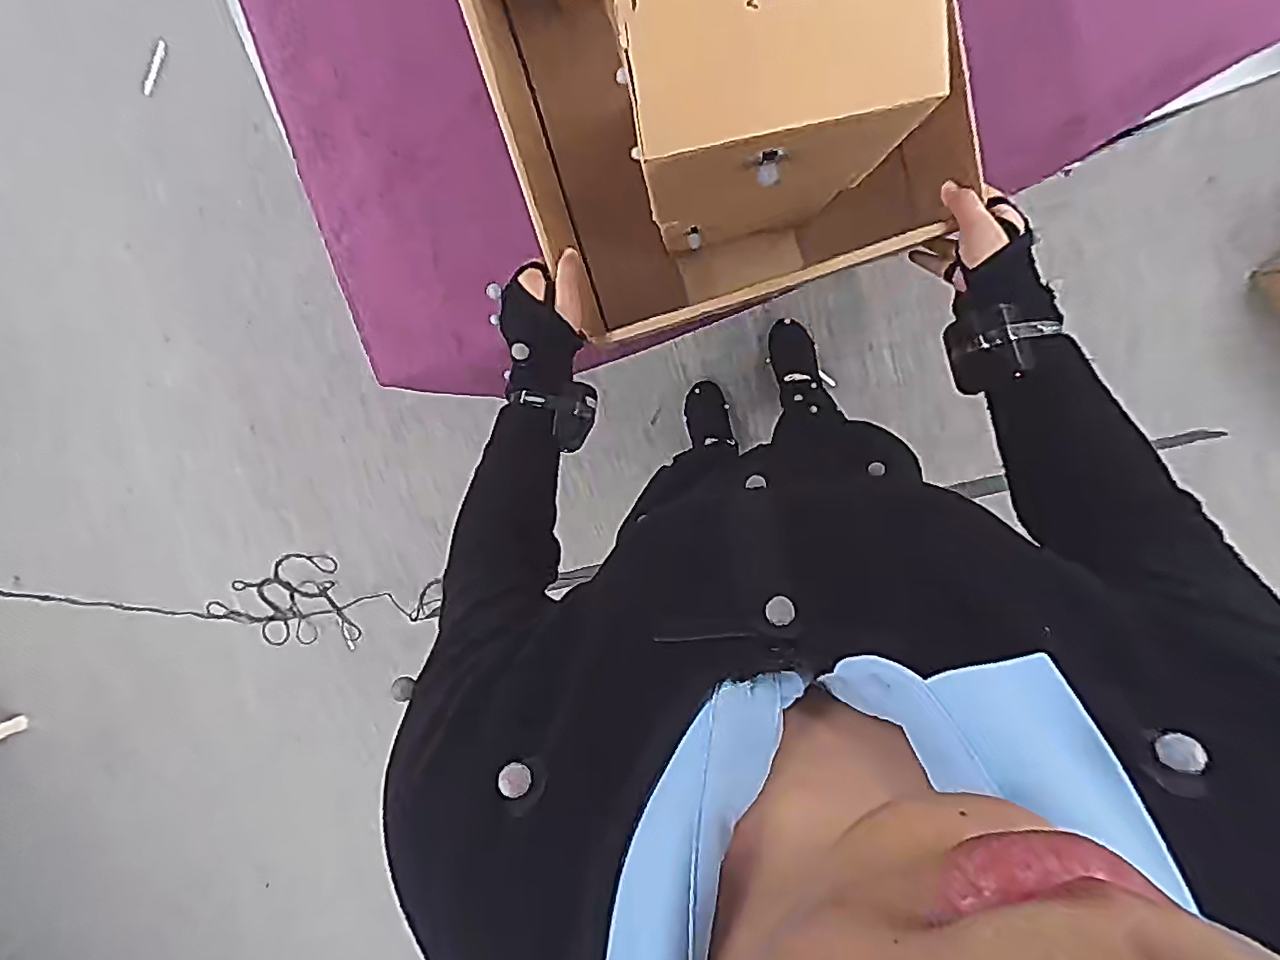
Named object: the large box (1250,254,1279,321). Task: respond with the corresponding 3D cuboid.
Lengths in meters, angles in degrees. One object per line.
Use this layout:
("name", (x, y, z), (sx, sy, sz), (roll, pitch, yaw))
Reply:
("large box", (1.617, -0.384, 1.077), (0.320, 0.320, 0.408), (-42, 95, 13))
